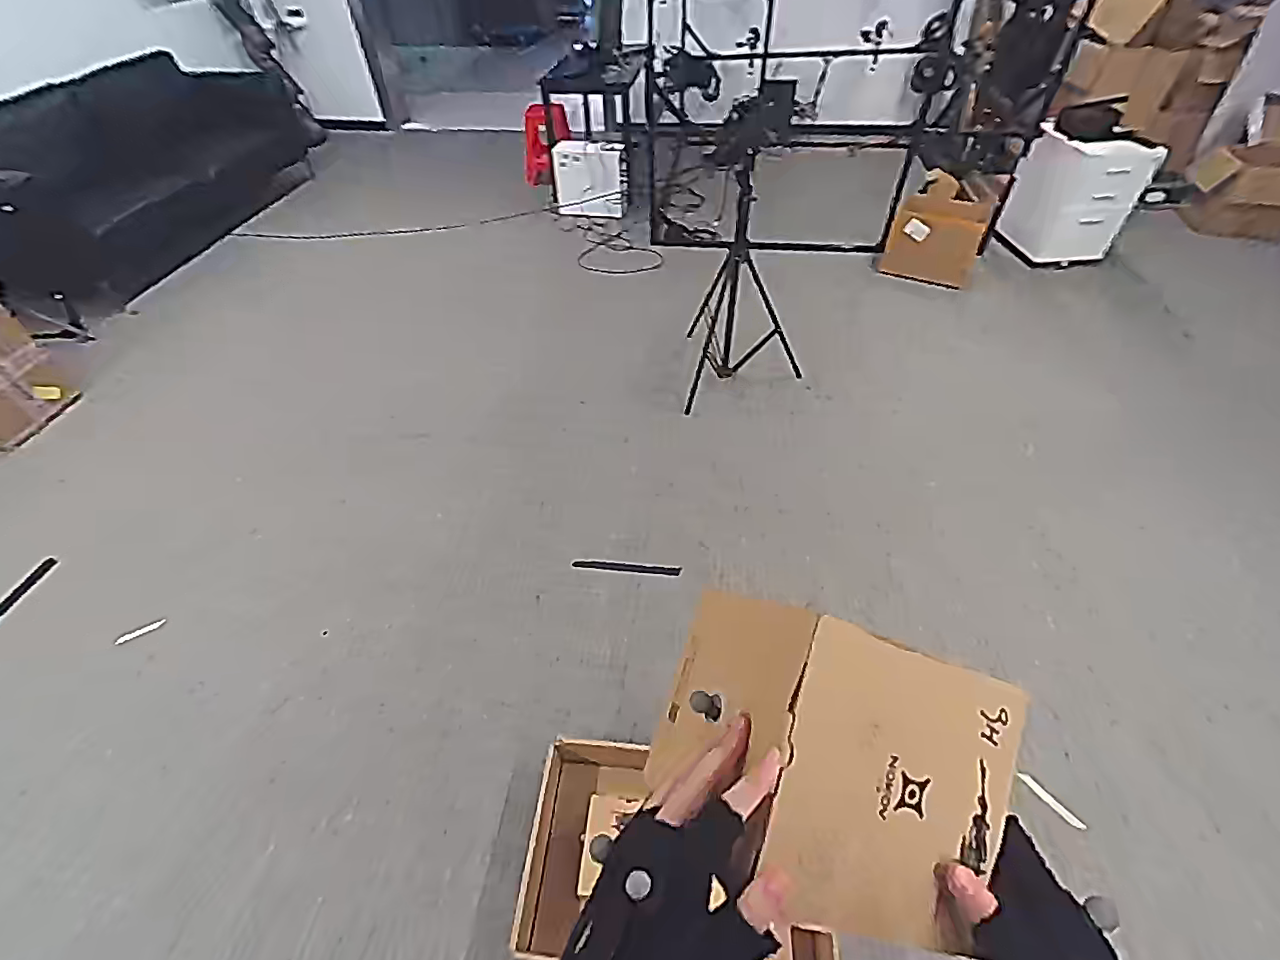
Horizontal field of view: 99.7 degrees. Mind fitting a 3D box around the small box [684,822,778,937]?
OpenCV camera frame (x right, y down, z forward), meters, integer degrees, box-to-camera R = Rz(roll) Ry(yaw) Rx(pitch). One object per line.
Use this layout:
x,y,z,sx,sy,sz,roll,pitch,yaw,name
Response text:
0.183,0.833,1.126,0.179,0.176,0.168,2,46,7,small box
